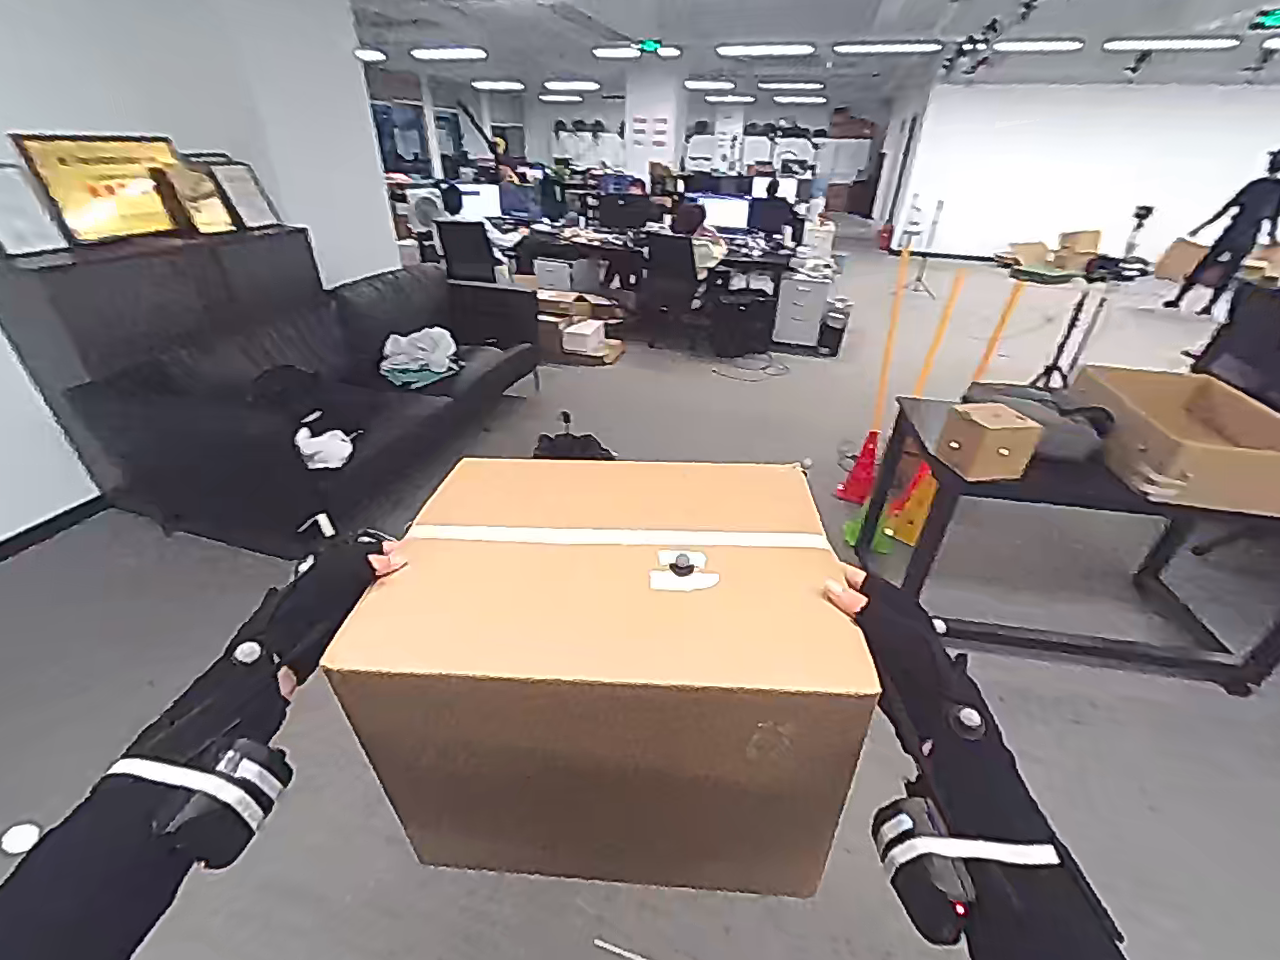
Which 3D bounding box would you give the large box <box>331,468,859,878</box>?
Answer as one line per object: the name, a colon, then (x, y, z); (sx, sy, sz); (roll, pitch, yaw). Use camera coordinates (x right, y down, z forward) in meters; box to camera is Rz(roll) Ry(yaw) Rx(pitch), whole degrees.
large box: (-0.030, 0.193, 0.601); (0.408, 0.320, 0.320); (1, 32, 4)
